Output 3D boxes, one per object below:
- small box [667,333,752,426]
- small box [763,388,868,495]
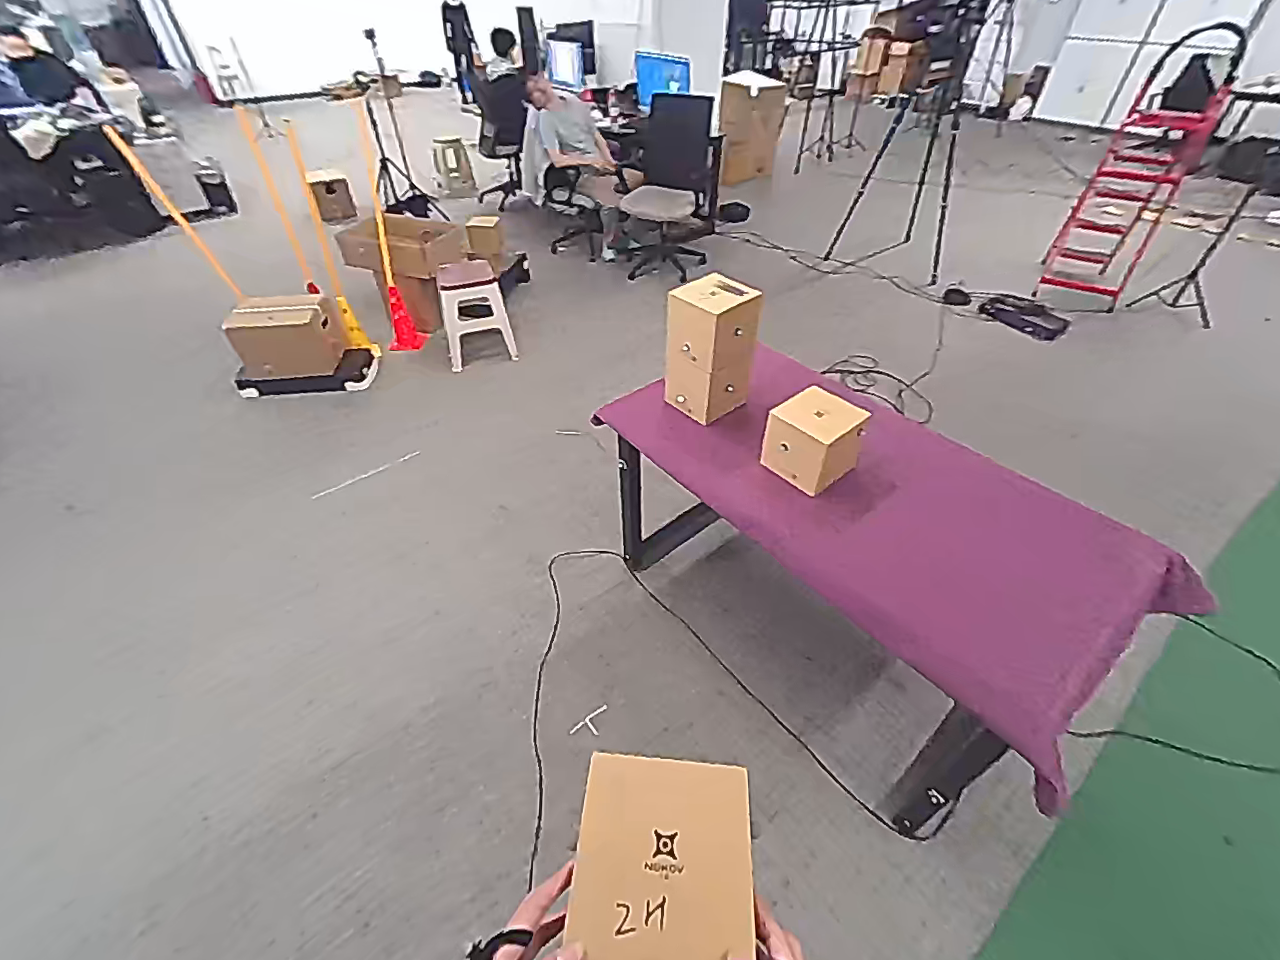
[{"bbox_3d":[0.186,-0.283,1.519,0.179,0.176,0.168,-31,51,-28],"label":"small box"},{"bbox_3d":[0.418,-0.092,1.319,0.179,0.176,0.168,-30,50,-29],"label":"small box"}]
